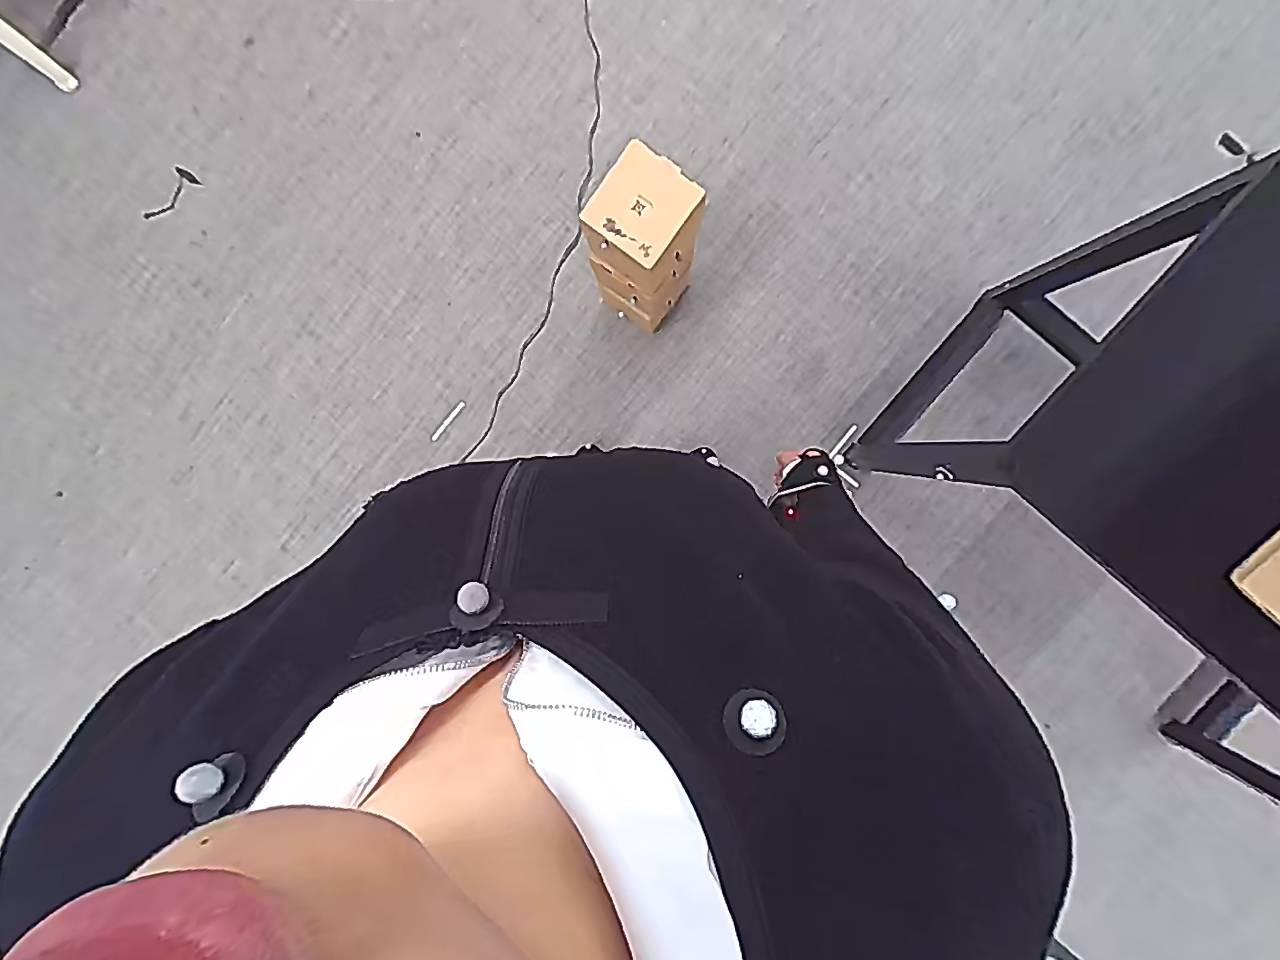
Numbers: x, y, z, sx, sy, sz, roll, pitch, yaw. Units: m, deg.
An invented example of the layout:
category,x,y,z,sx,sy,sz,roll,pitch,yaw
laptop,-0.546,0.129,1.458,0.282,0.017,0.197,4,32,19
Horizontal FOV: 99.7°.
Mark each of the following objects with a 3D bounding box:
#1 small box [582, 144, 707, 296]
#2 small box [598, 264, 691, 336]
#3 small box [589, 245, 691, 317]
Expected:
category,x,y,z,sx,sy,sz,roll,pitch,yaw
small box,0.008,-0.498,1.062,0.168,0.176,0.179,37,93,0
small box,0.012,-0.499,1.389,0.168,0.176,0.179,37,95,1
small box,0.007,-0.497,1.227,0.168,0.176,0.179,34,92,0
